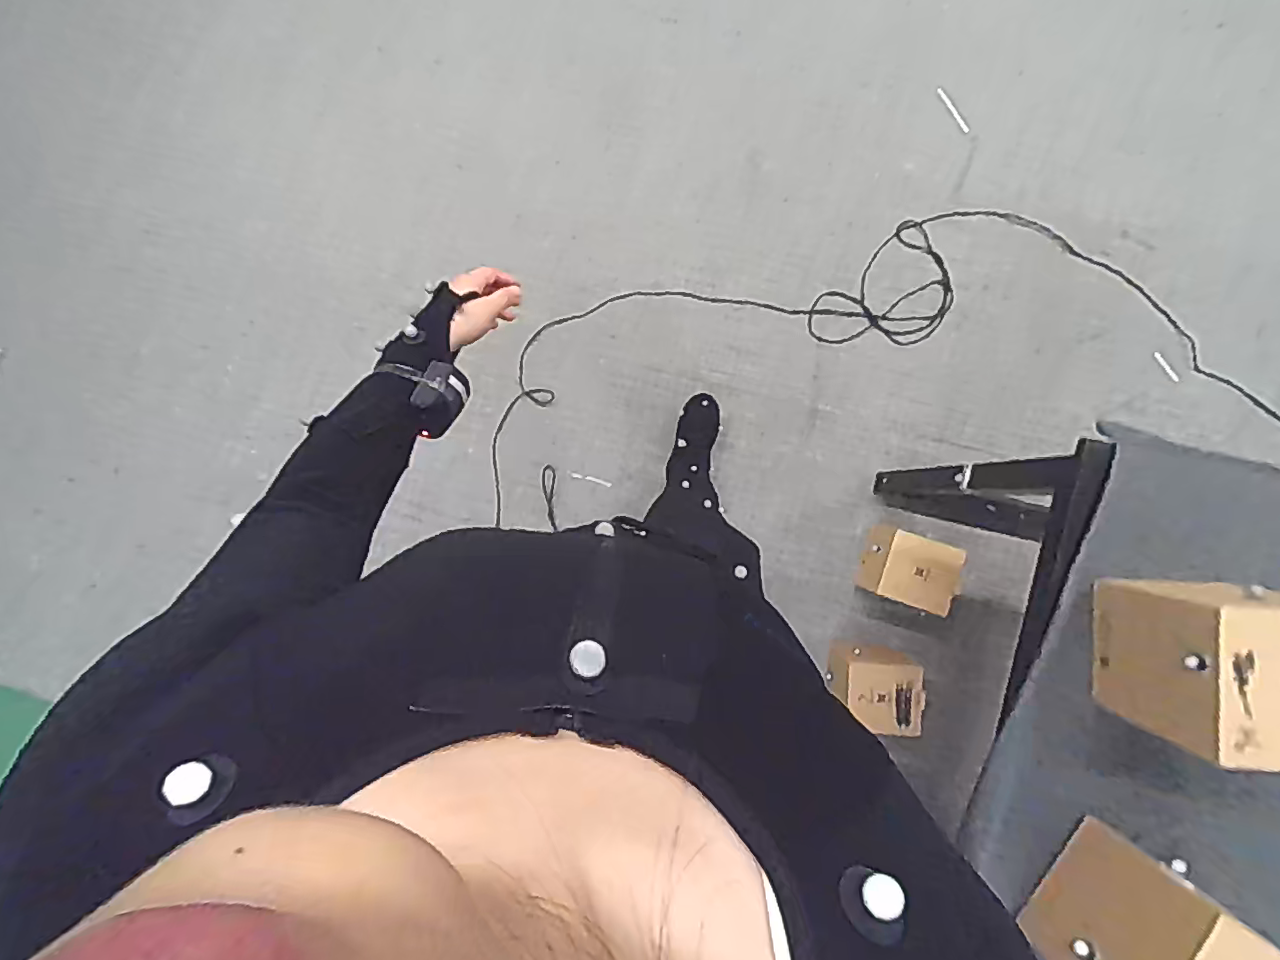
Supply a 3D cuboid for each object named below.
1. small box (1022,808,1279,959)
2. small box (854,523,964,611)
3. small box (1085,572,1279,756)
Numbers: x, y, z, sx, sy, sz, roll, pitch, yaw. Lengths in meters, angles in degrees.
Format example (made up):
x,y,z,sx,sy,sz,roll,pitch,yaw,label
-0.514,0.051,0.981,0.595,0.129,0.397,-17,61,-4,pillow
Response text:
x,y,z,sx,sy,sz,roll,pitch,yaw,label
0.601,0.542,0.633,0.168,0.176,0.179,34,89,-1,small box
0.668,0.212,1.367,0.179,0.176,0.168,18,89,2,small box
0.679,0.203,0.635,0.179,0.176,0.168,1,89,2,small box
